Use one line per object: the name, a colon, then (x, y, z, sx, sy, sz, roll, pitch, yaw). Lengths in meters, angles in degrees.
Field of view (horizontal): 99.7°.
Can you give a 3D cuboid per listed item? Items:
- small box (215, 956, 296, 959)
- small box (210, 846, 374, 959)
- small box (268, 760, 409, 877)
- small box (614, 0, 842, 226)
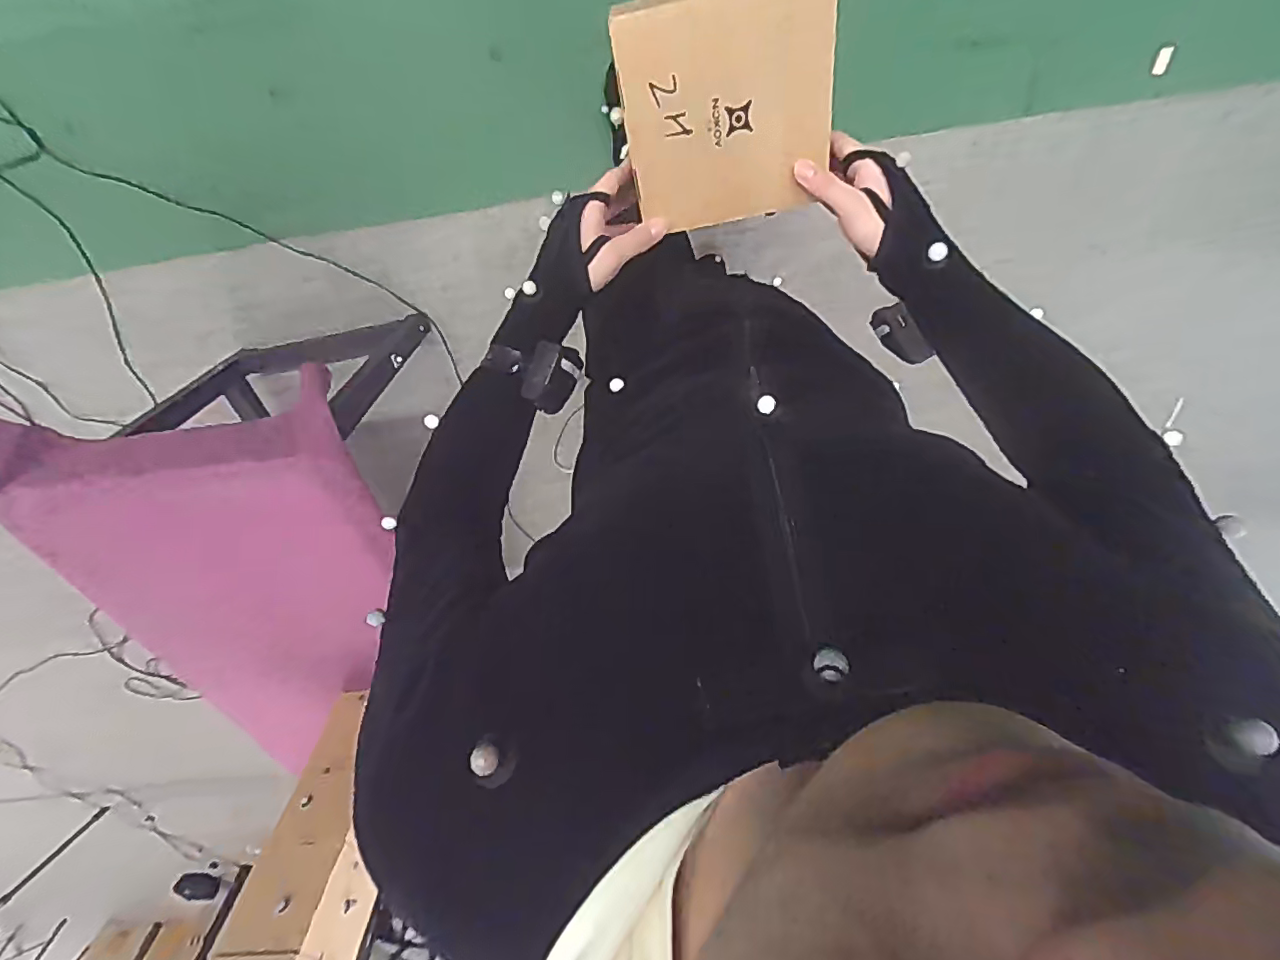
small box: (-0.621, 0.897, 0.866, 0.168, 0.176, 0.179, -9, 124, 7)
small box: (-0.624, 0.804, 1.002, 0.179, 0.176, 0.168, -9, 124, 6)
small box: (-0.617, 0.708, 1.134, 0.168, 0.176, 0.179, -8, 125, 6)
small box: (0.074, -0.368, 0.512, 0.179, 0.176, 0.168, -8, 133, 6)
